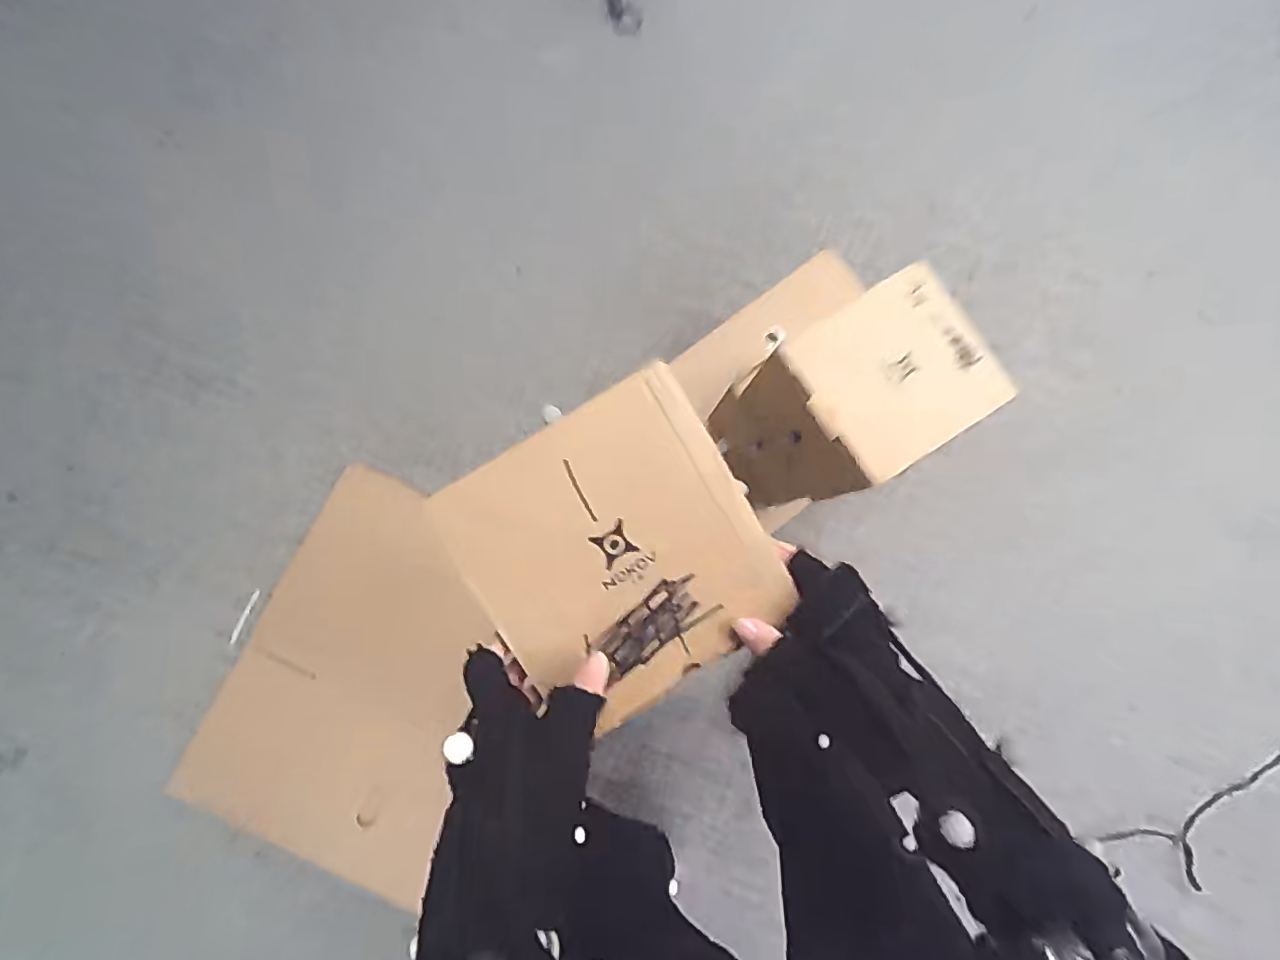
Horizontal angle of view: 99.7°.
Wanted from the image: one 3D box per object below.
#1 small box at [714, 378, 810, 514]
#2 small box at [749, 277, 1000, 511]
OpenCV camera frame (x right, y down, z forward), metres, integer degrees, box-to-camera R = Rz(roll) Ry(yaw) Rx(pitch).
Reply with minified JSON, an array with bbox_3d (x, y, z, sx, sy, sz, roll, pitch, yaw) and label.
[{"bbox_3d":[0.226,-0.067,0.774,0.168,0.176,0.179,-35,85,-6],"label":"small box"},{"bbox_3d":[0.241,-0.082,0.613,0.179,0.176,0.168,-35,82,-7],"label":"small box"}]
